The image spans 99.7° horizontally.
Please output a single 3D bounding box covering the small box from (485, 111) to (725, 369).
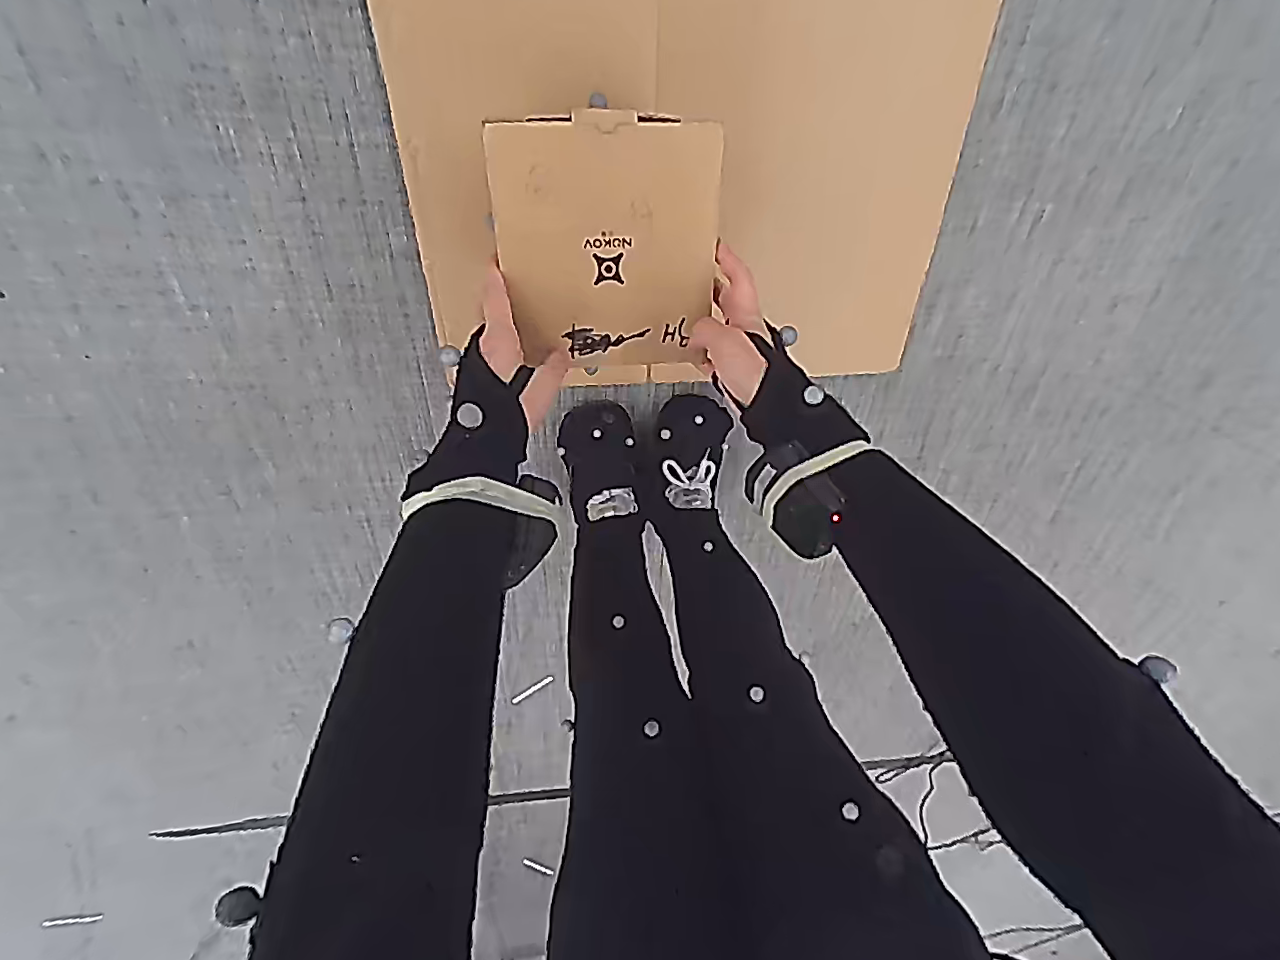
[{"bbox_3d":[-0.032,-0.211,0.469,0.168,0.176,0.179,-4,124,-5],"label":"small box"}]
